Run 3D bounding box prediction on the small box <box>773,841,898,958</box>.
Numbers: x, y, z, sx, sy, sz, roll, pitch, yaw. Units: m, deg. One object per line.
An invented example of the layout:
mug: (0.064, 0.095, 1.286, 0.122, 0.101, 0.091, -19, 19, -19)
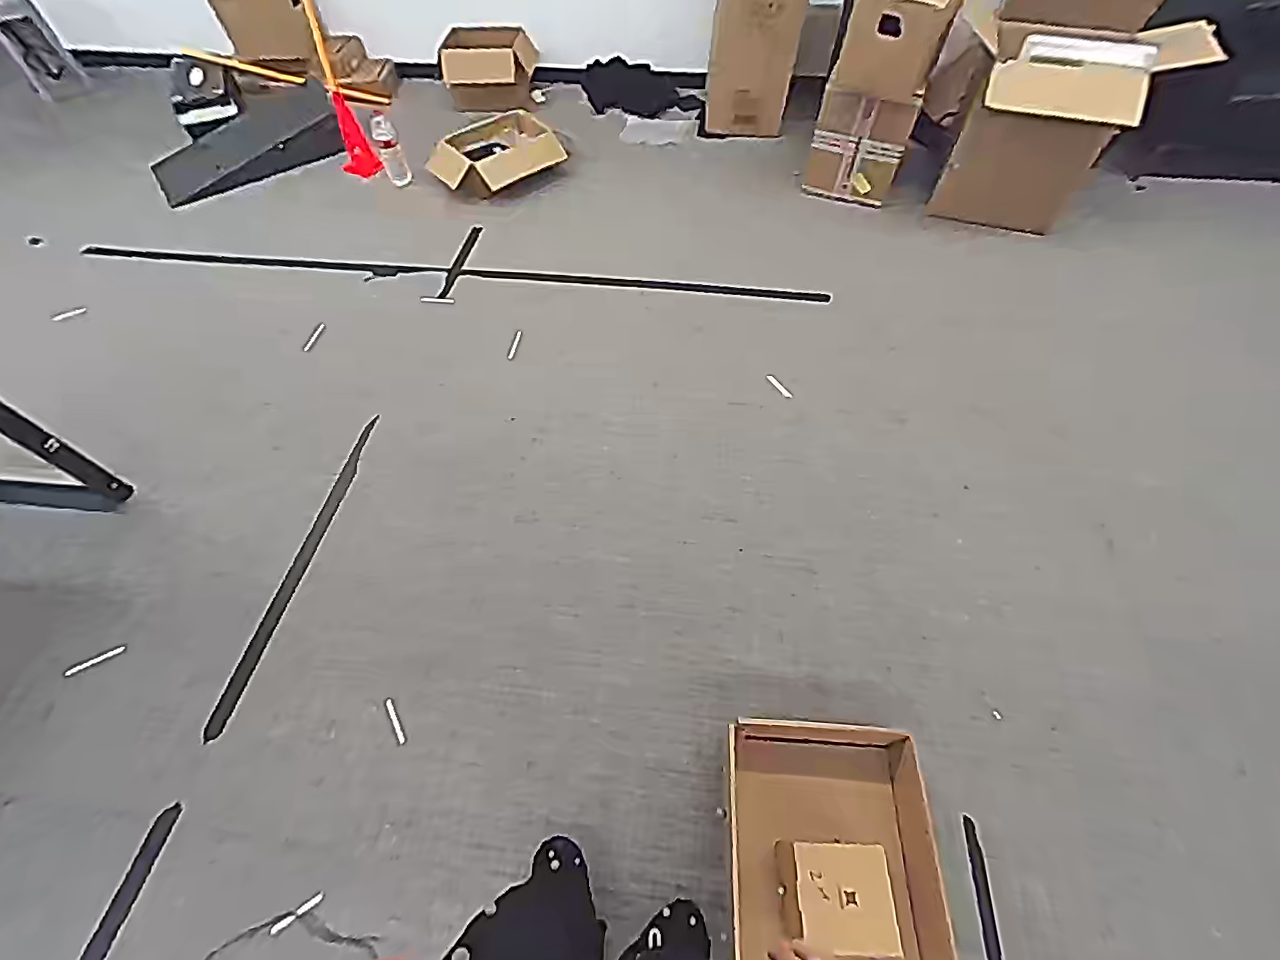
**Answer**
small box: (0.372, 0.813, 1.061, 0.179, 0.176, 0.168, 1, 56, 1)
